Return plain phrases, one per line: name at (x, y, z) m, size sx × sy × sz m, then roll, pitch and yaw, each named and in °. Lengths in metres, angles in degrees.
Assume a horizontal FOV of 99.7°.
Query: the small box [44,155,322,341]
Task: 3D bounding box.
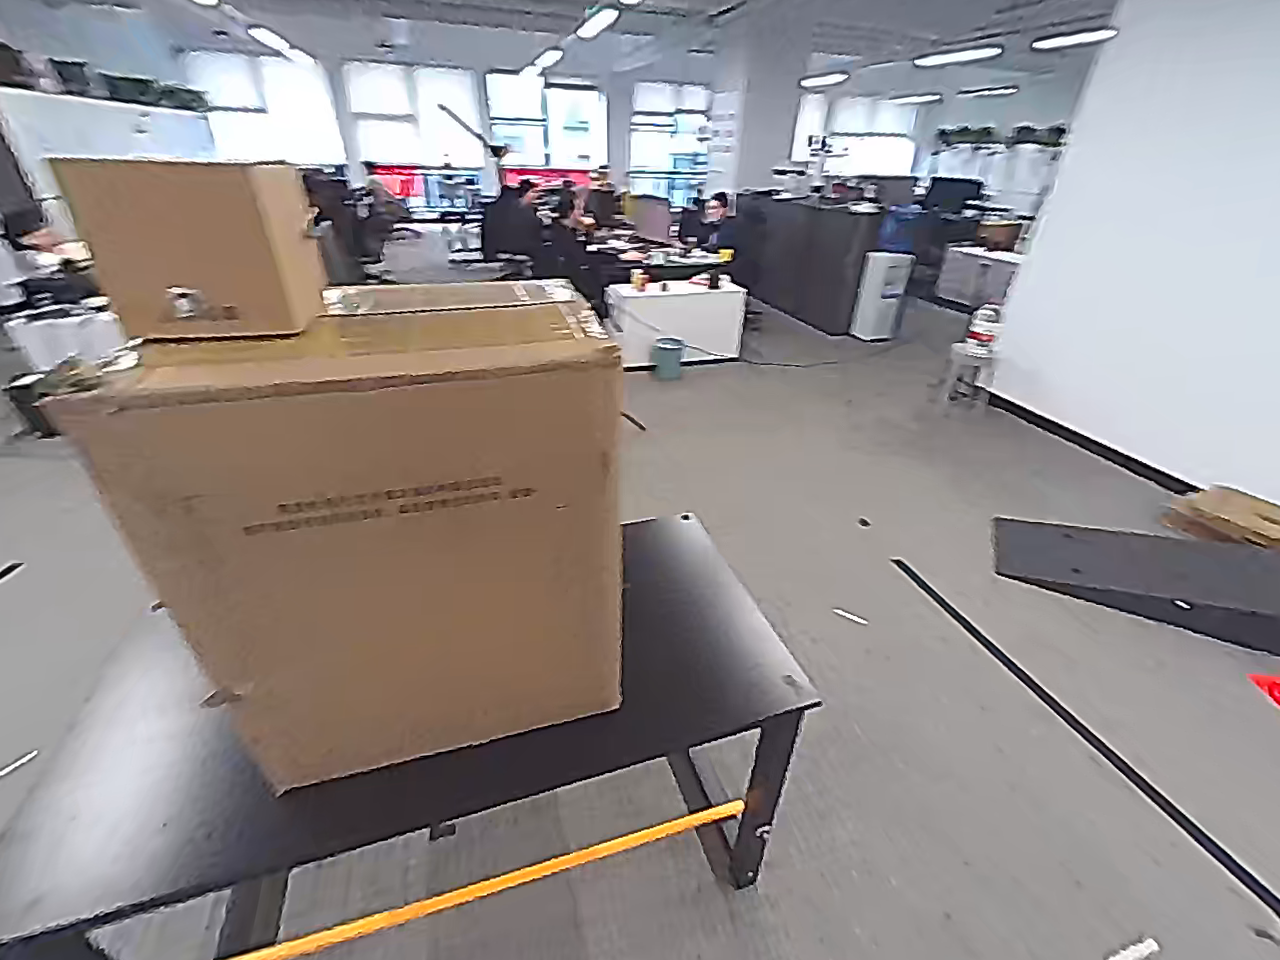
small box at (-0.478, -0.261, 0.606) m, size 0.168 × 0.176 × 0.179 m, roll -8°, pitch 32°, yaw -16°
